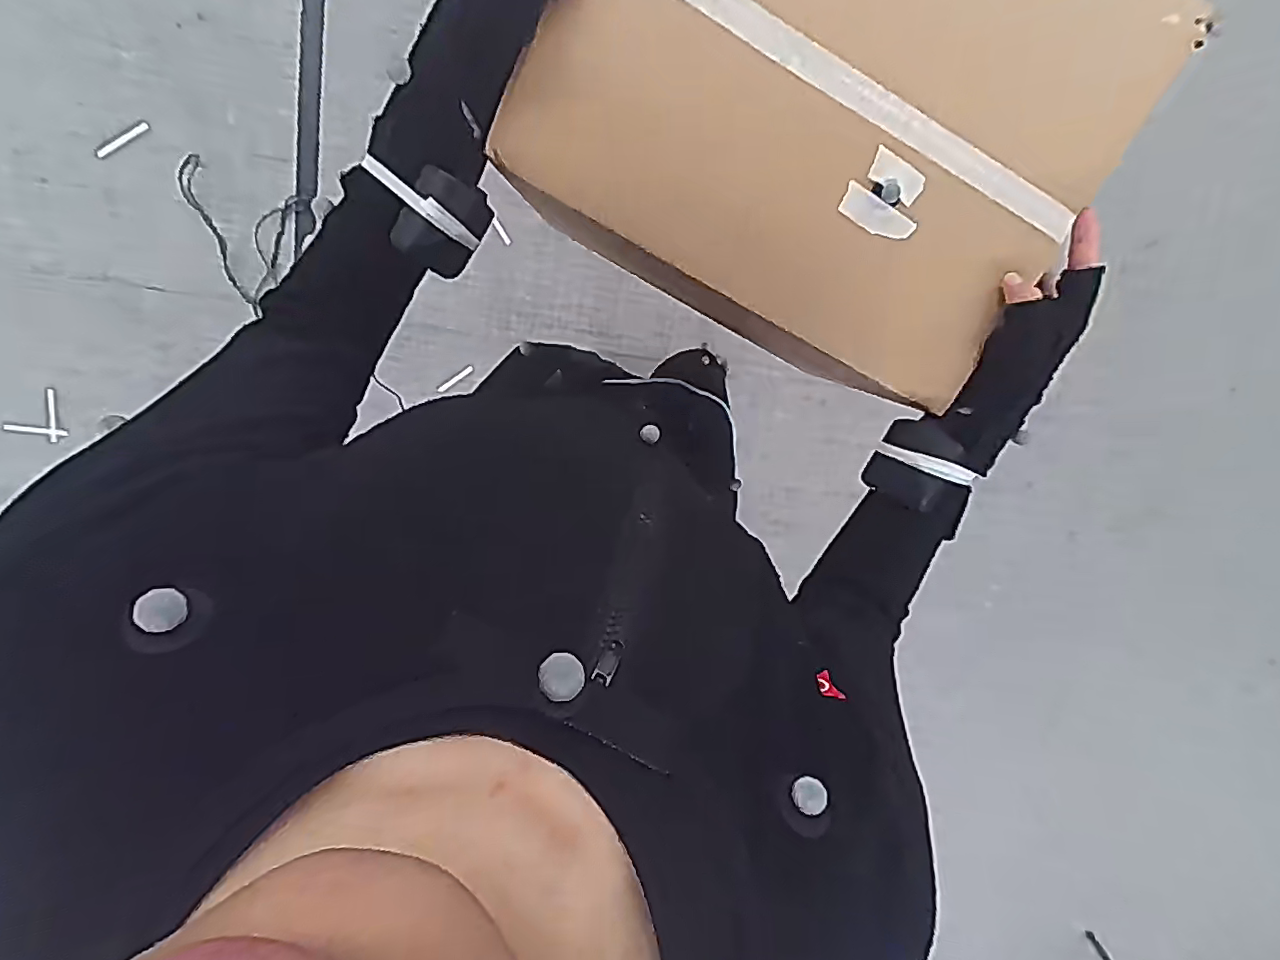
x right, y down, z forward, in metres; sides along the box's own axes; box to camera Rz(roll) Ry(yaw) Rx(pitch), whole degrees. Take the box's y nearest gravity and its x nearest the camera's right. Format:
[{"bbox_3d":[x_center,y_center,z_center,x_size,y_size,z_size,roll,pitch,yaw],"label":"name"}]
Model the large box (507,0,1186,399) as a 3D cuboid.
[{"bbox_3d":[0.138,-0.323,0.529,0.408,0.320,0.320,27,105,-10],"label":"large box"}]
